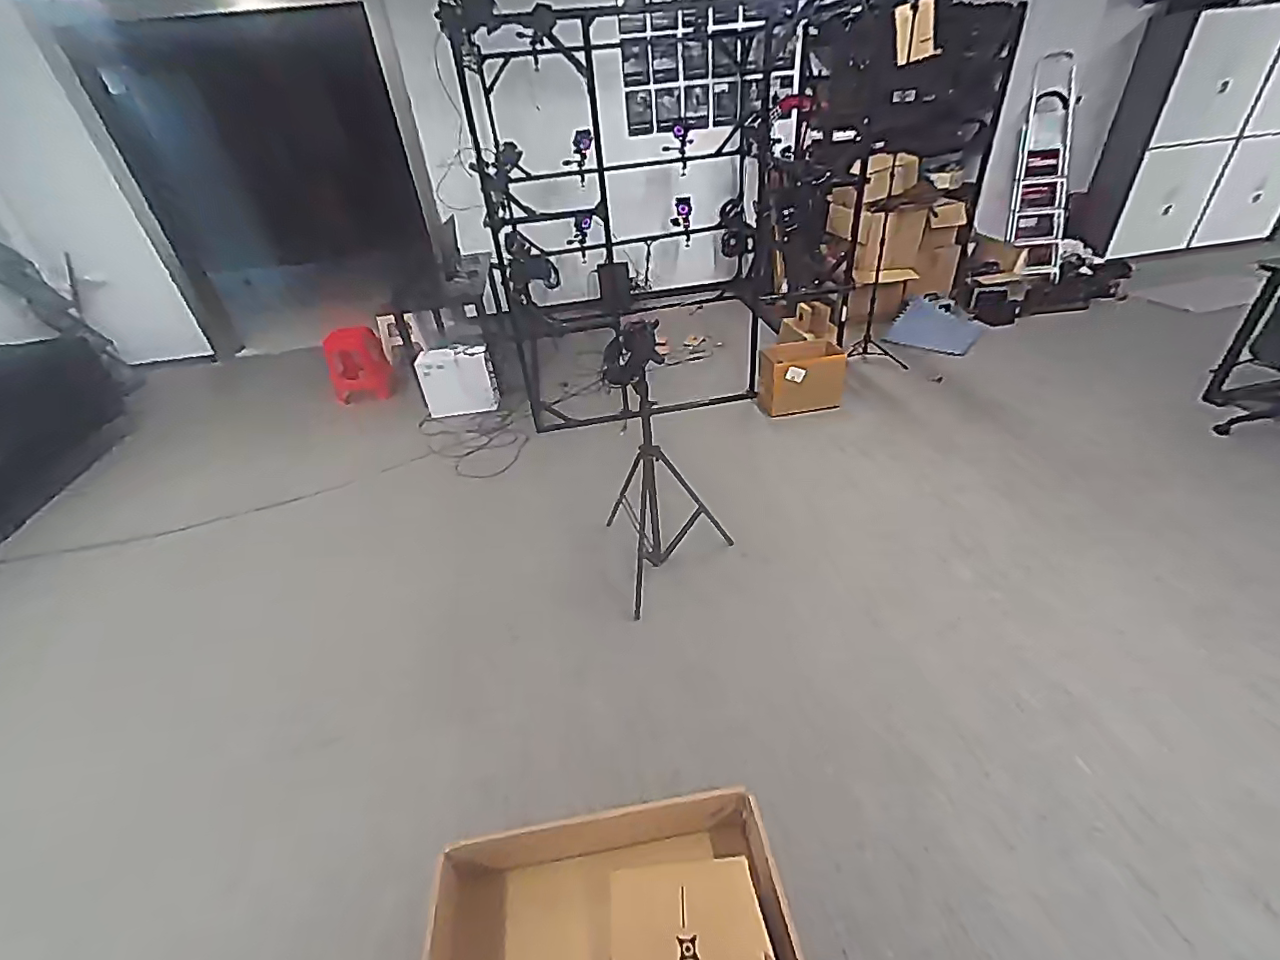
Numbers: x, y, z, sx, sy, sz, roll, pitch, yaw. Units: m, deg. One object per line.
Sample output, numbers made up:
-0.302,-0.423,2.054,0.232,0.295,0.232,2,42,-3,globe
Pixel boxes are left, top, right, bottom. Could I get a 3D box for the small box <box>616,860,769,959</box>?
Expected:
0.065,0.573,0.631,0.168,0.176,0.179,-6,43,1,small box
